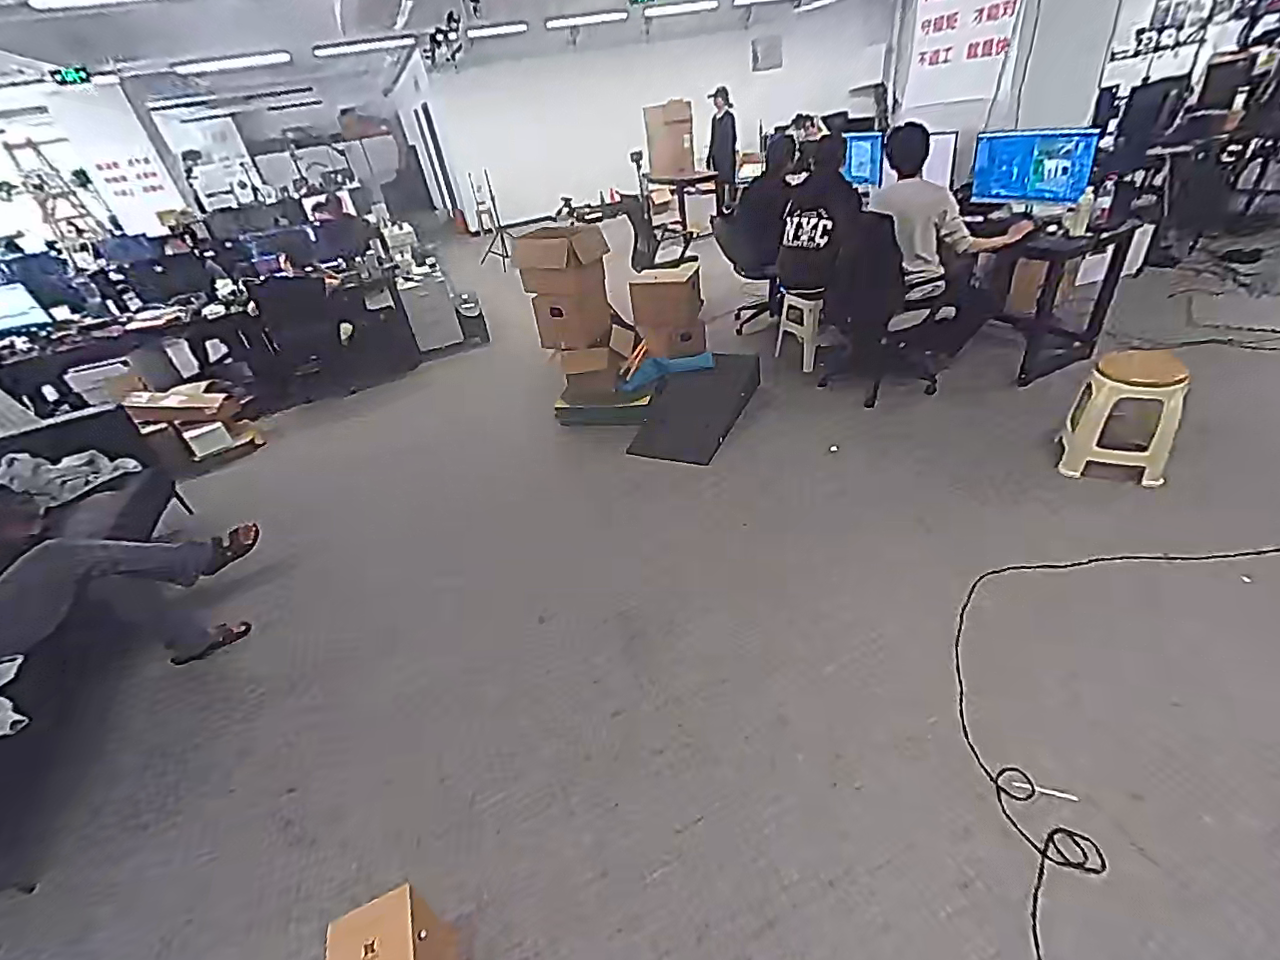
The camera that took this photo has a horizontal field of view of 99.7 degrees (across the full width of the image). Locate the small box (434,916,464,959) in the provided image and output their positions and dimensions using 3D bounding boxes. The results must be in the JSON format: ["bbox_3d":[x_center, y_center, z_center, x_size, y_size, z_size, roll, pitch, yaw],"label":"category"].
[{"bbox_3d":[-0.487,1.123,1.187,0.168,0.176,0.179,-19,34,-13],"label":"small box"}]

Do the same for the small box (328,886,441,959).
[{"bbox_3d":[-0.512,0.990,1.098,0.168,0.176,0.179,-20,34,-16],"label":"small box"}]
